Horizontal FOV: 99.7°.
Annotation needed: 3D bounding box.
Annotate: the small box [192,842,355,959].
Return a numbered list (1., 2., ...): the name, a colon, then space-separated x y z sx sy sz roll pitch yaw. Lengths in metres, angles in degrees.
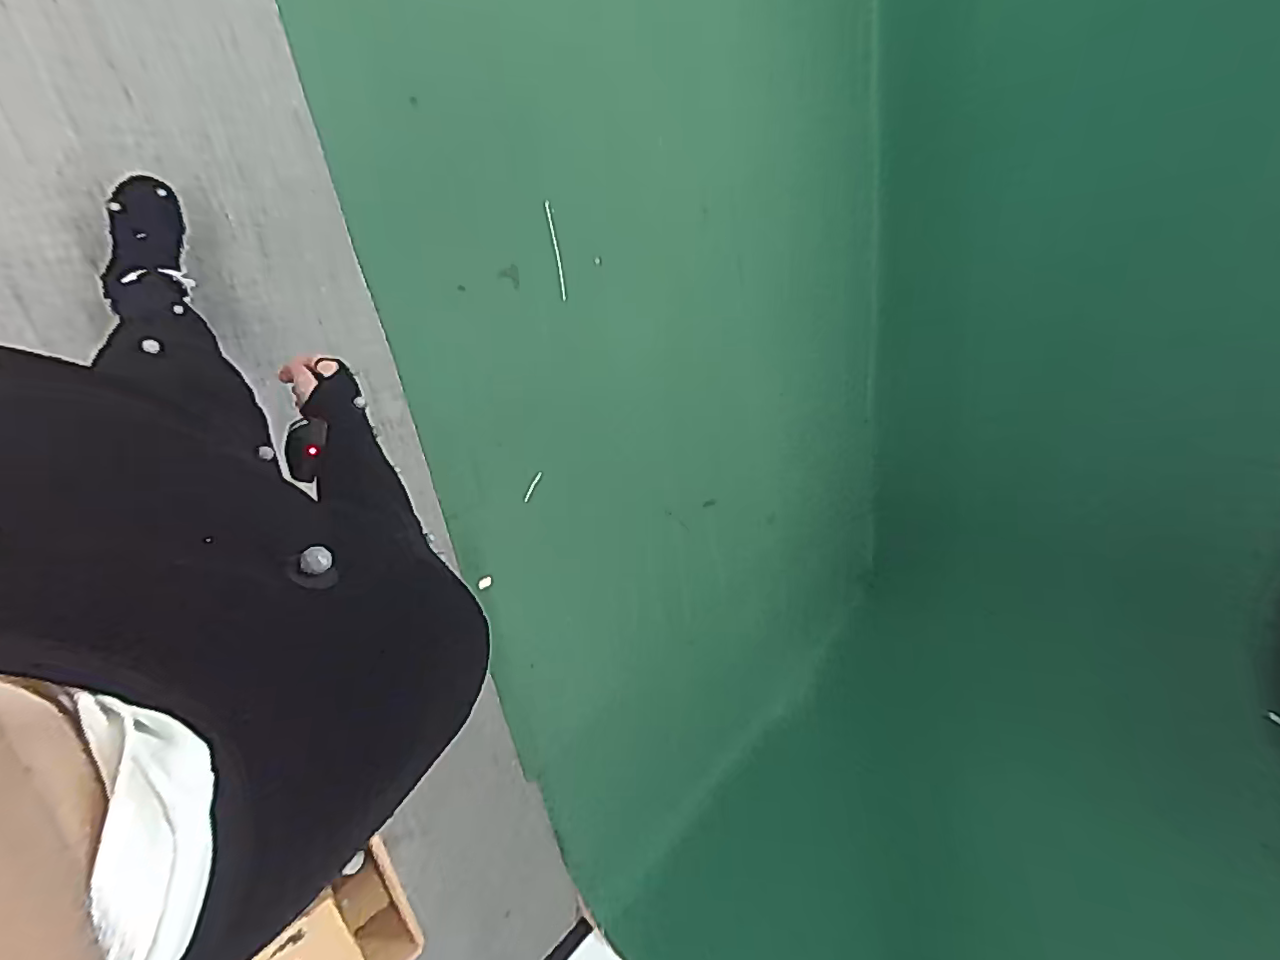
1. small box: -0.596 0.752 0.886 0.168 0.176 0.179 -26 118 -38
